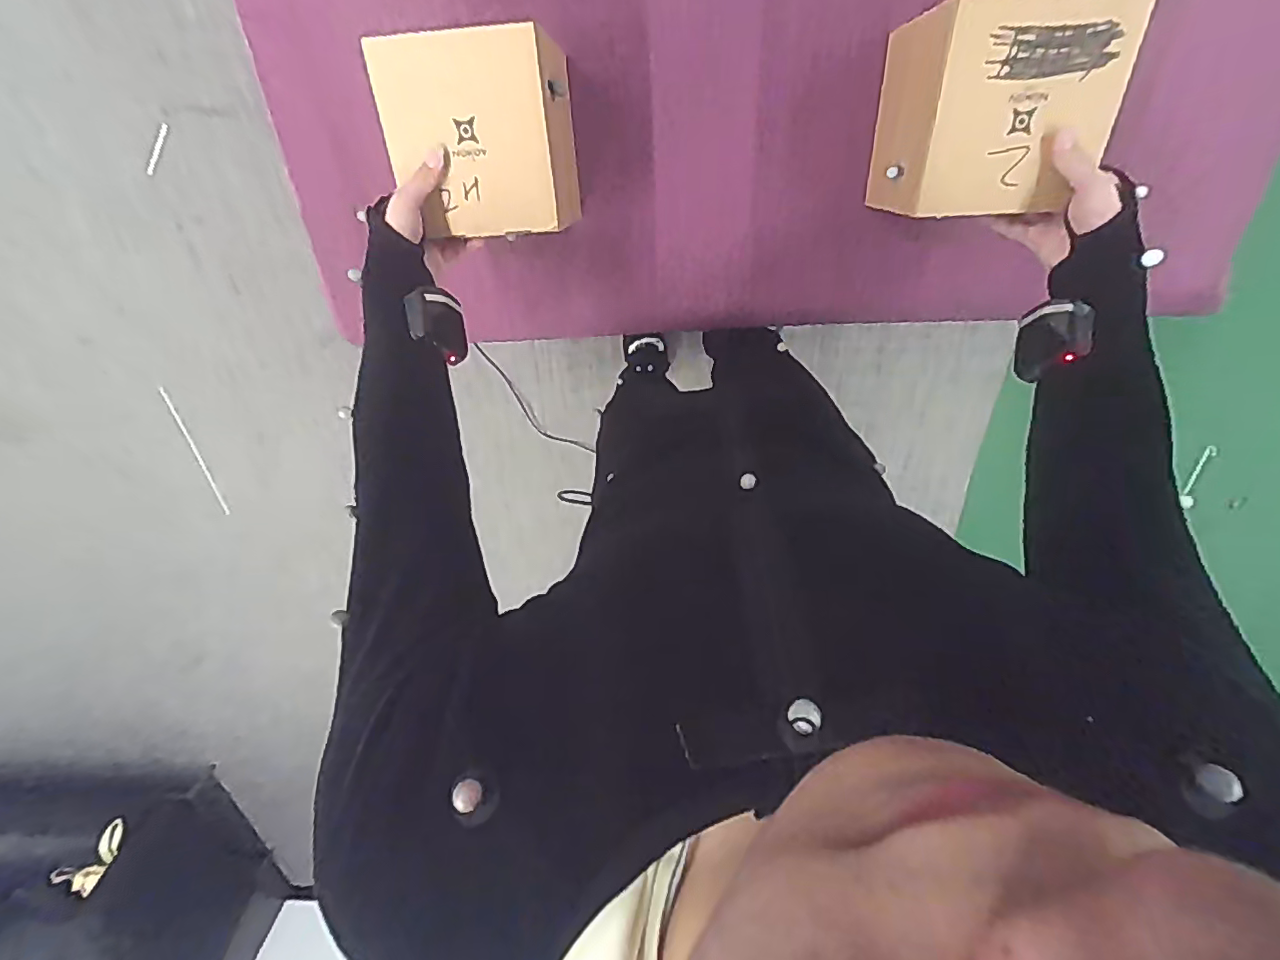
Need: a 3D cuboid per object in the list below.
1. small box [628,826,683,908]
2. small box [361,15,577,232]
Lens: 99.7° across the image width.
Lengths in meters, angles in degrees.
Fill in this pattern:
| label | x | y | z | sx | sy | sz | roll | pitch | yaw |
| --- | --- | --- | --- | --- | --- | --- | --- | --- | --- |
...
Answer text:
| label | x | y | z | sx | sy | sz | roll | pitch | yaw |
| --- | --- | --- | --- | --- | --- | --- | --- | --- | --- |
| small box | 0.053 | 1.318 | 1.847 | 0.168 | 0.176 | 0.179 | 8 | 122 | 1 |
| small box | -0.171 | -0.383 | 0.605 | 0.168 | 0.176 | 0.179 | -1 | 120 | 5 |
